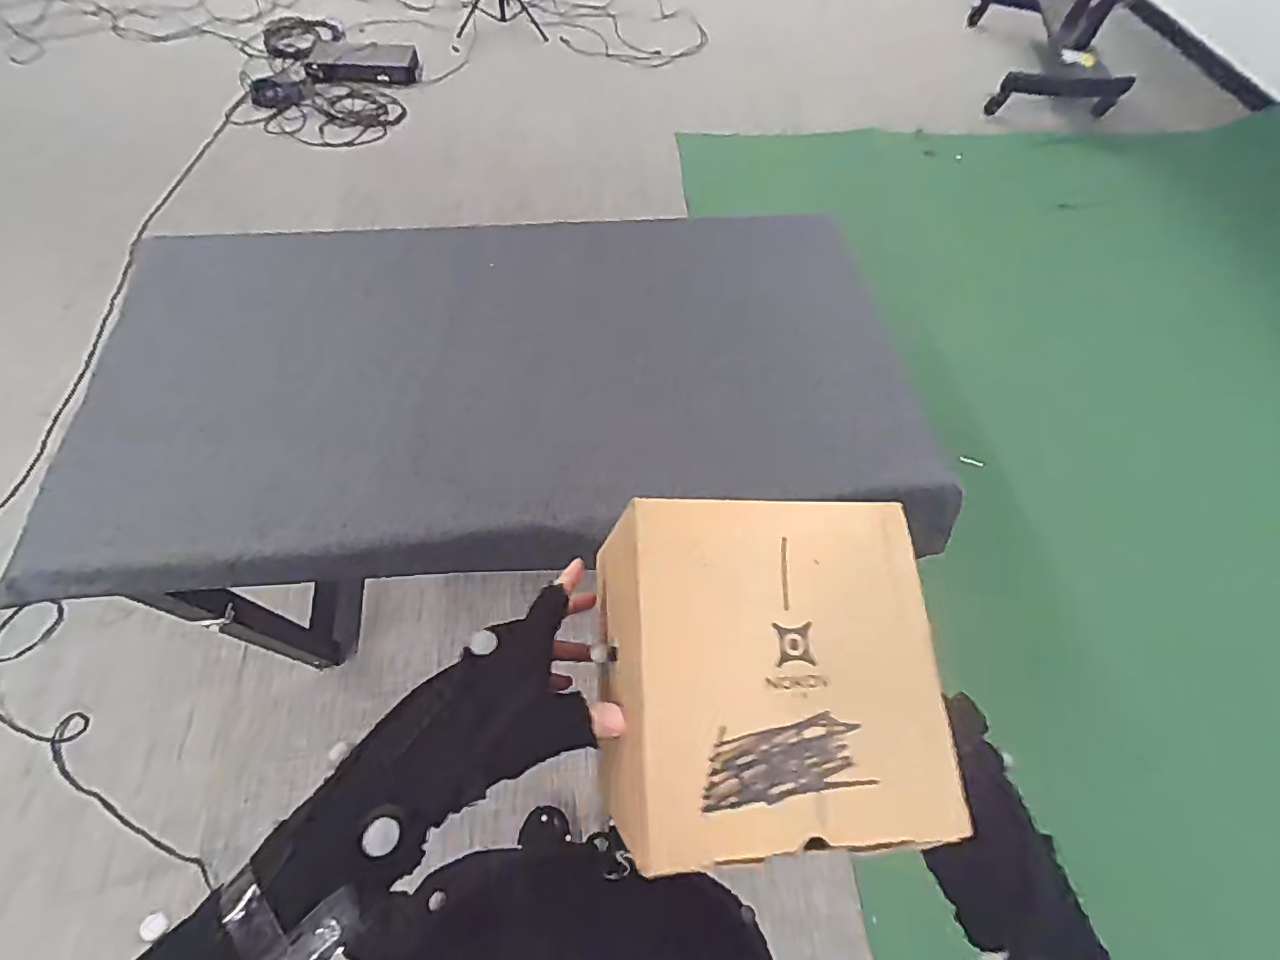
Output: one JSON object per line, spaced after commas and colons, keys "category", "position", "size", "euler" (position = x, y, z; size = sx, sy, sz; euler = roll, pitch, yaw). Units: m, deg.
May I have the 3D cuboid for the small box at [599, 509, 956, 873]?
{"category": "small box", "position": [0.066, 0.127, 0.363], "size": [0.168, 0.176, 0.179], "euler": [2, 70, -12]}
